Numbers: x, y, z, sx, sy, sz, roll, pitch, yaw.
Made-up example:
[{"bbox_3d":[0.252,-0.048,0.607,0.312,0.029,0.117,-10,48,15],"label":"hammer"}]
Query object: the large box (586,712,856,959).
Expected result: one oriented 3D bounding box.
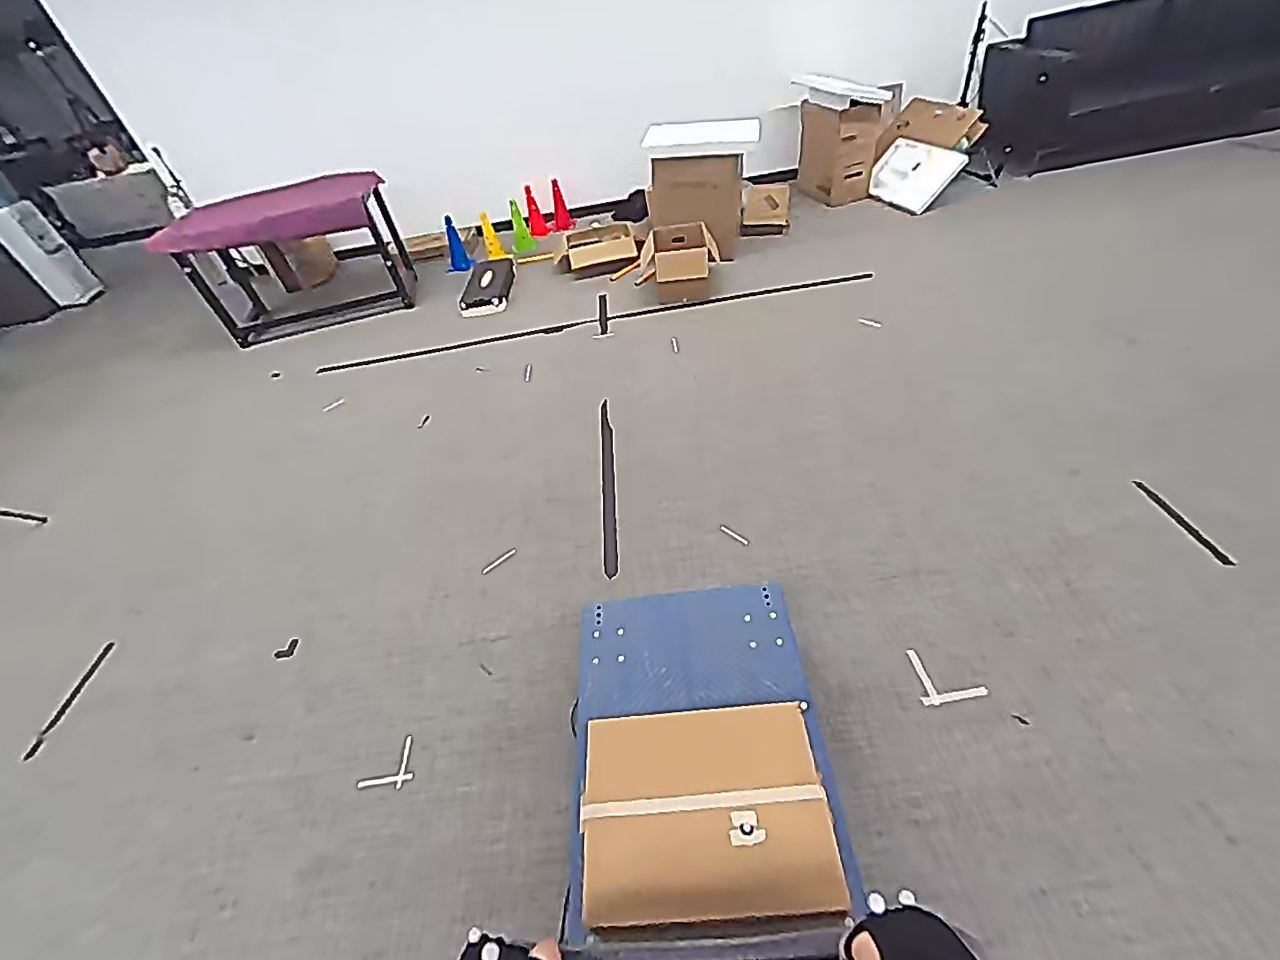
[{"bbox_3d":[0.123,0.662,0.990,0.408,0.320,0.320,-6,43,2],"label":"large box"}]
